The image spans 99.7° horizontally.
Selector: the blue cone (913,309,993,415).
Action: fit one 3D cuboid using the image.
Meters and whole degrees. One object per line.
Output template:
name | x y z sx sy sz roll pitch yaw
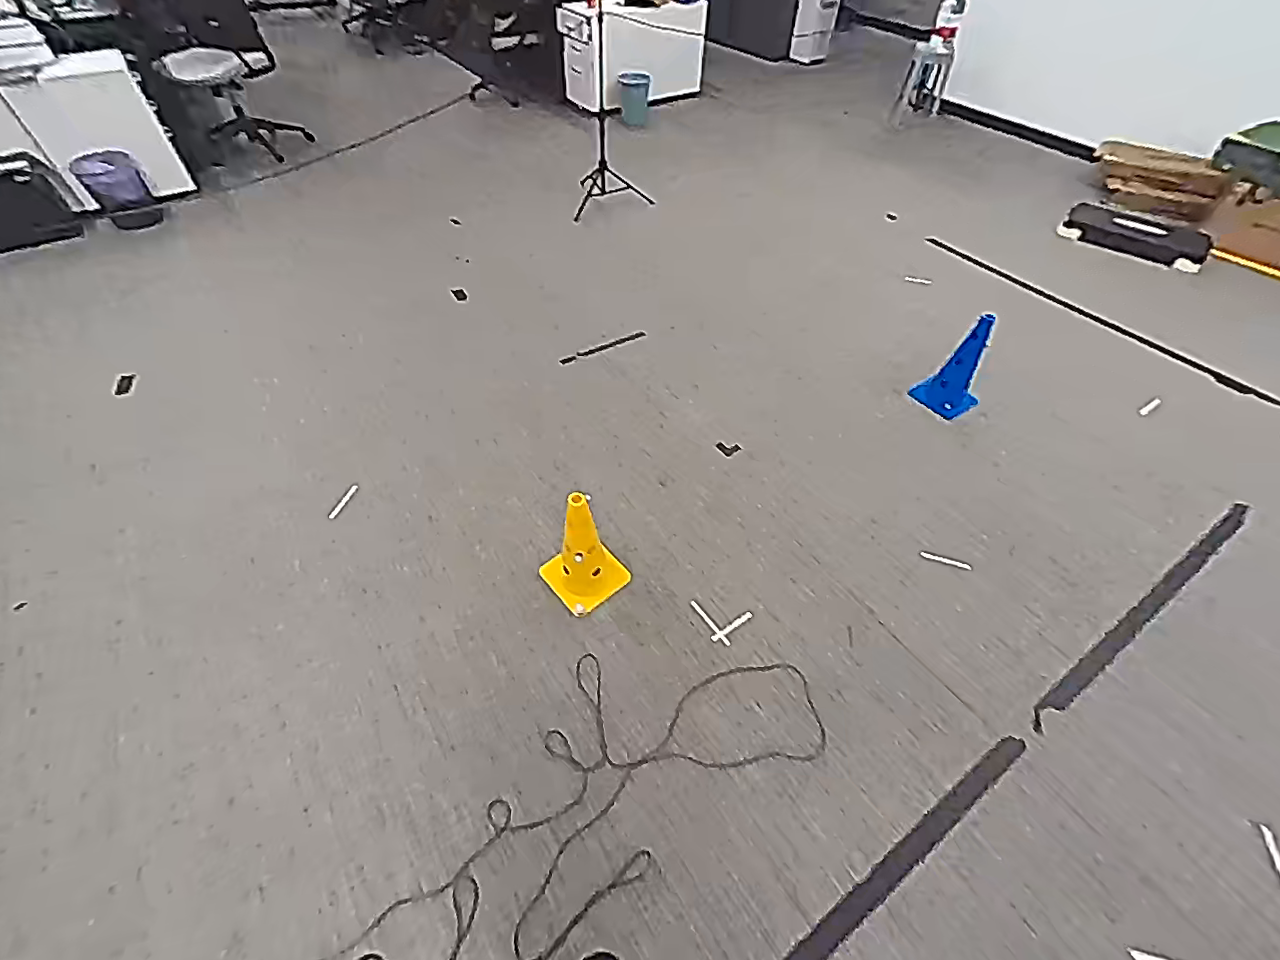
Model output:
blue cone | 1.171 -0.433 1.945 0.193 0.380 0.192 -26 54 -22
